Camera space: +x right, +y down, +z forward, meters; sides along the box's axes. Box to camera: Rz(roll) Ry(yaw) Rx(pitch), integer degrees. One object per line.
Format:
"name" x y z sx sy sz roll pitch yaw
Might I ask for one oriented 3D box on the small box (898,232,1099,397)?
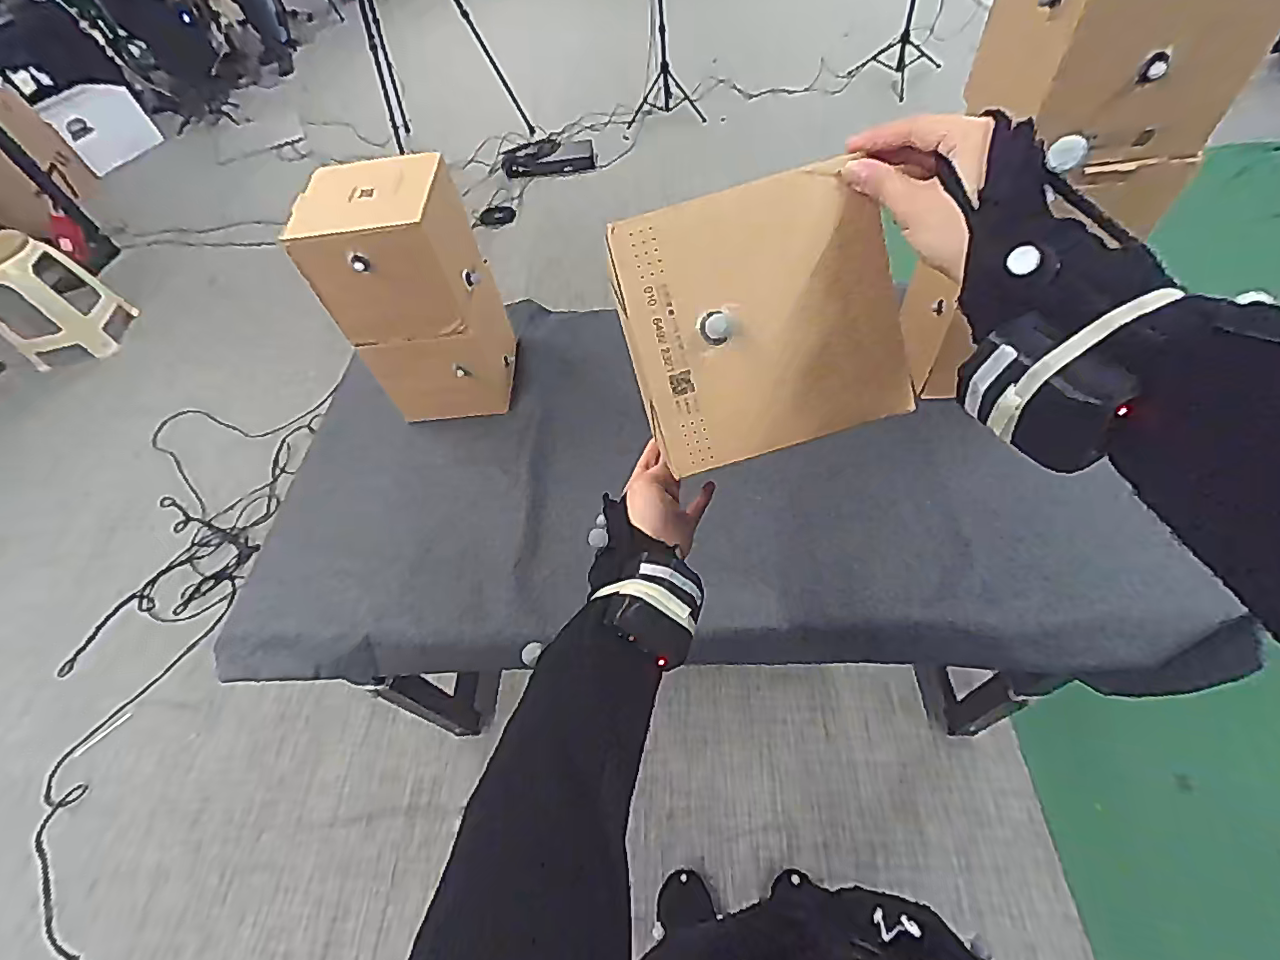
"small box" 0.487 -0.238 0.772 0.168 0.176 0.179 -1 56 8

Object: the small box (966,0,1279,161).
"small box" 0.438 -0.418 0.501 0.168 0.176 0.179 -2 56 7

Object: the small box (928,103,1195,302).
"small box" 0.464 -0.326 0.635 0.168 0.176 0.179 0 57 8

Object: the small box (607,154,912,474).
"small box" 0.075 -0.116 0.422 0.176 0.168 0.179 -16 12 2

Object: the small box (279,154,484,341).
"small box" -0.331 -0.307 0.733 0.179 0.176 0.168 -5 57 3
